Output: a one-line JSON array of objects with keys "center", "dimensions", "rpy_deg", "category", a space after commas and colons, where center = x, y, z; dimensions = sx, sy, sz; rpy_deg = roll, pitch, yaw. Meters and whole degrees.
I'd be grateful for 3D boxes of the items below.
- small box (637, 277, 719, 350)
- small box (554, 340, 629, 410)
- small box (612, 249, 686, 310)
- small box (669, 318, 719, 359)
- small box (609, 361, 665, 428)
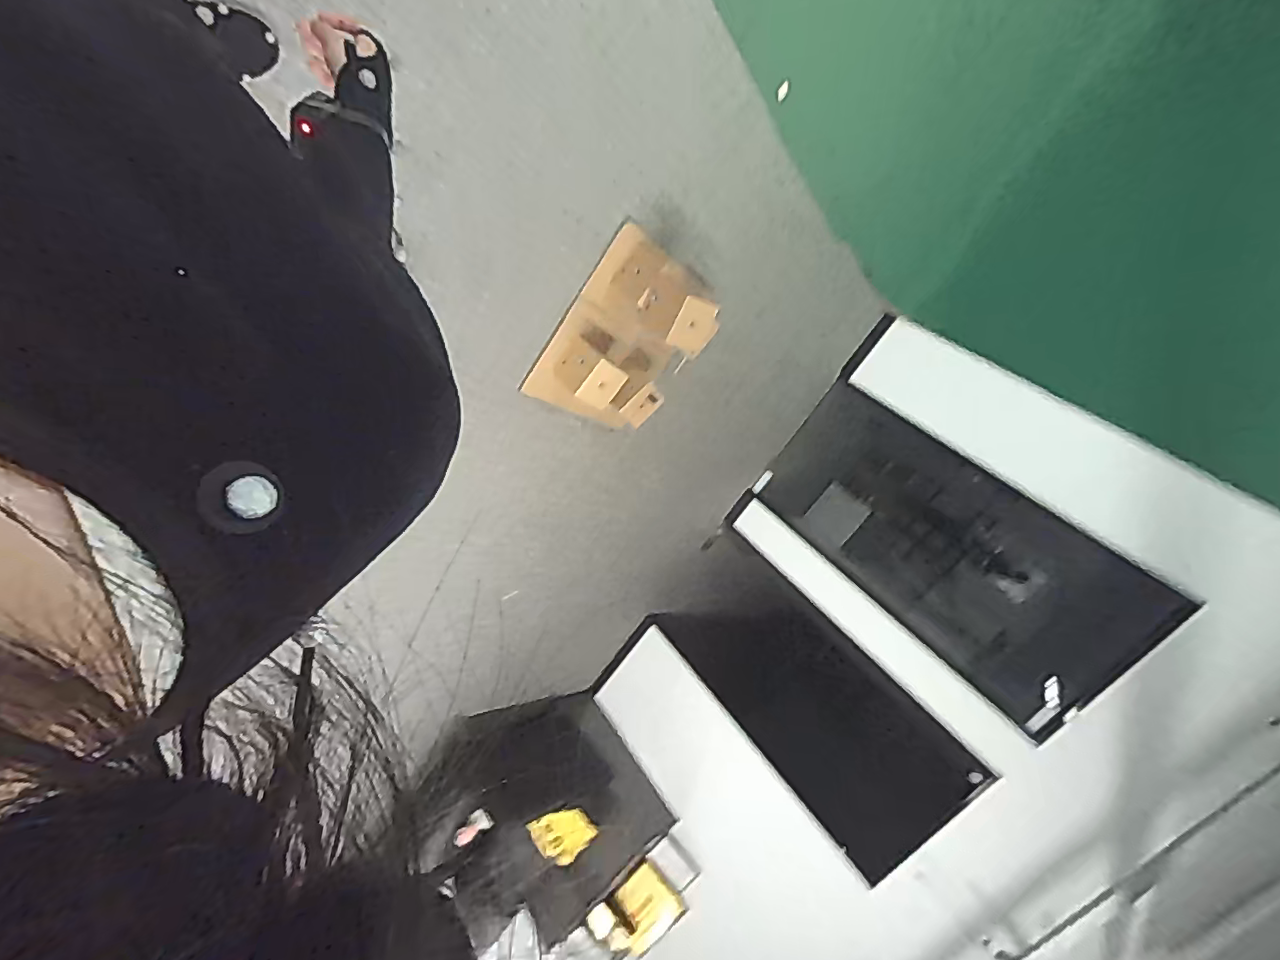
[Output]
[{"center": [0.124, -0.561, 1.818], "dimensions": [0.179, 0.176, 0.168], "rpy_deg": [-2, 128, -47], "category": "small box"}, {"center": [-0.182, -0.388, 1.978], "dimensions": [0.168, 0.176, 0.179], "rpy_deg": [-51, 148, 12], "category": "small box"}, {"center": [0.032, -0.678, 1.890], "dimensions": [0.168, 0.176, 0.179], "rpy_deg": [-50, 148, 11], "category": "small box"}, {"center": [0.171, -0.614, 2.121], "dimensions": [0.179, 0.176, 0.168], "rpy_deg": [-50, 148, 9], "category": "small box"}, {"center": [-0.036, -0.349, 2.185], "dimensions": [0.179, 0.176, 0.168], "rpy_deg": [-44, 148, 2], "category": "small box"}]
